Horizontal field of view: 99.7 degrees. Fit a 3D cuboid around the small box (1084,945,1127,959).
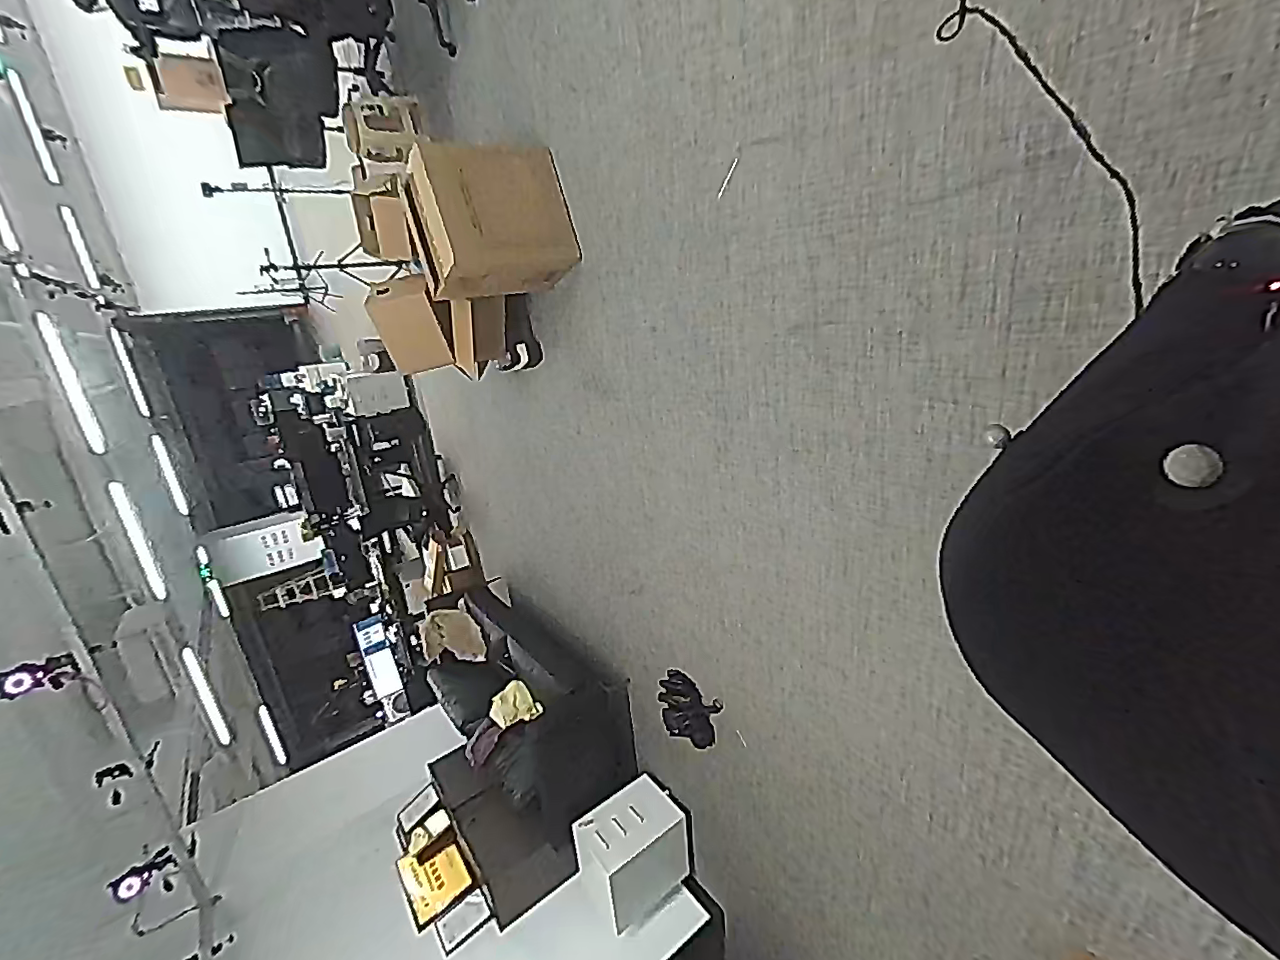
[{"bbox_3d":[1.286,1.410,1.450,0.179,0.176,0.168,17,121,50],"label":"small box"}]
